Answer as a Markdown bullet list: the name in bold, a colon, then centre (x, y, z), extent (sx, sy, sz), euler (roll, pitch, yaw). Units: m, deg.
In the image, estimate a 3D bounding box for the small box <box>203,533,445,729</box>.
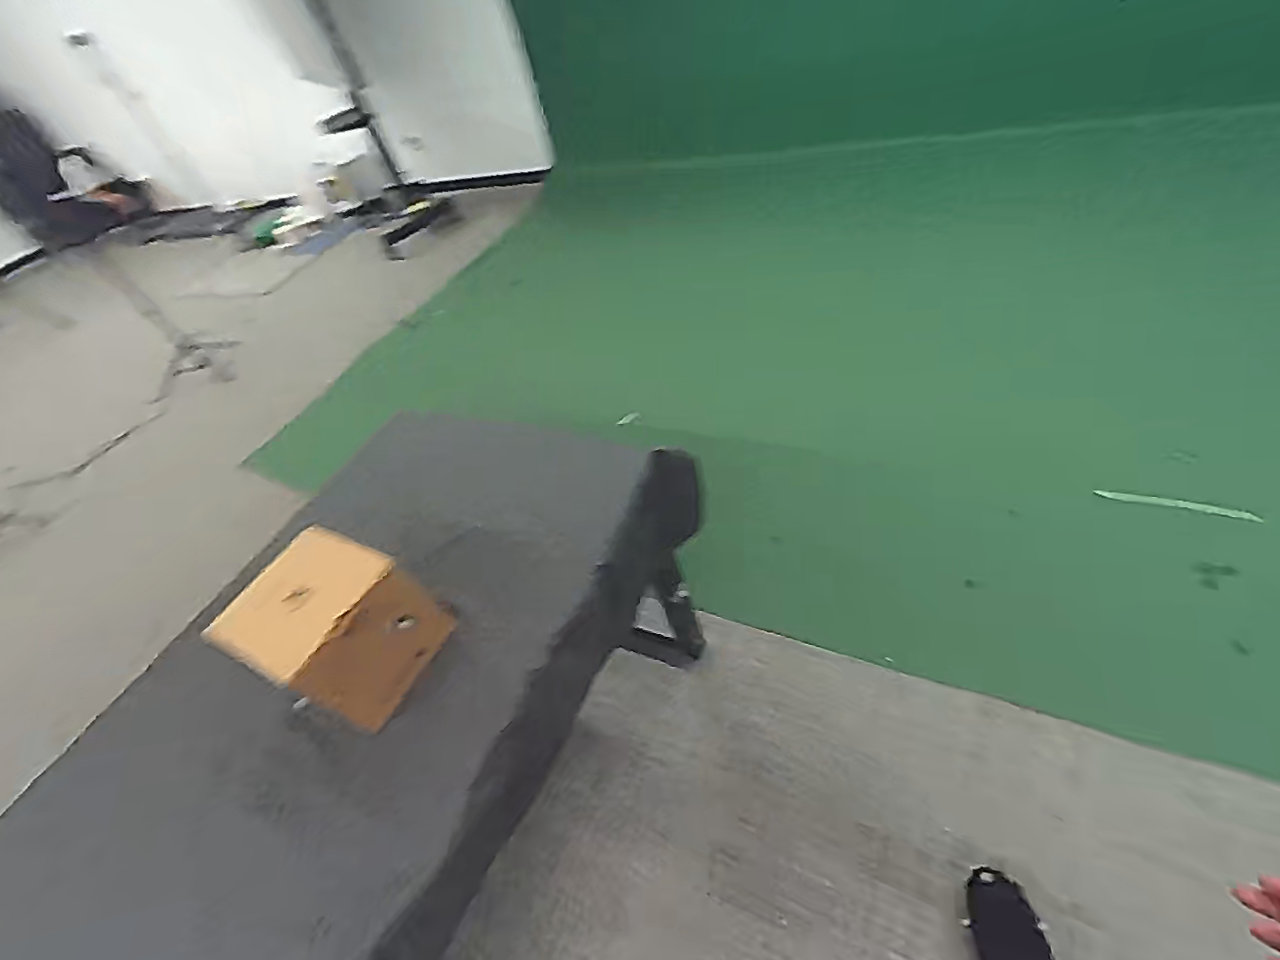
- **small box**: centre (-0.395, 0.199, 0.705), extent (0.179, 0.176, 0.168), euler (12, 52, 28)
